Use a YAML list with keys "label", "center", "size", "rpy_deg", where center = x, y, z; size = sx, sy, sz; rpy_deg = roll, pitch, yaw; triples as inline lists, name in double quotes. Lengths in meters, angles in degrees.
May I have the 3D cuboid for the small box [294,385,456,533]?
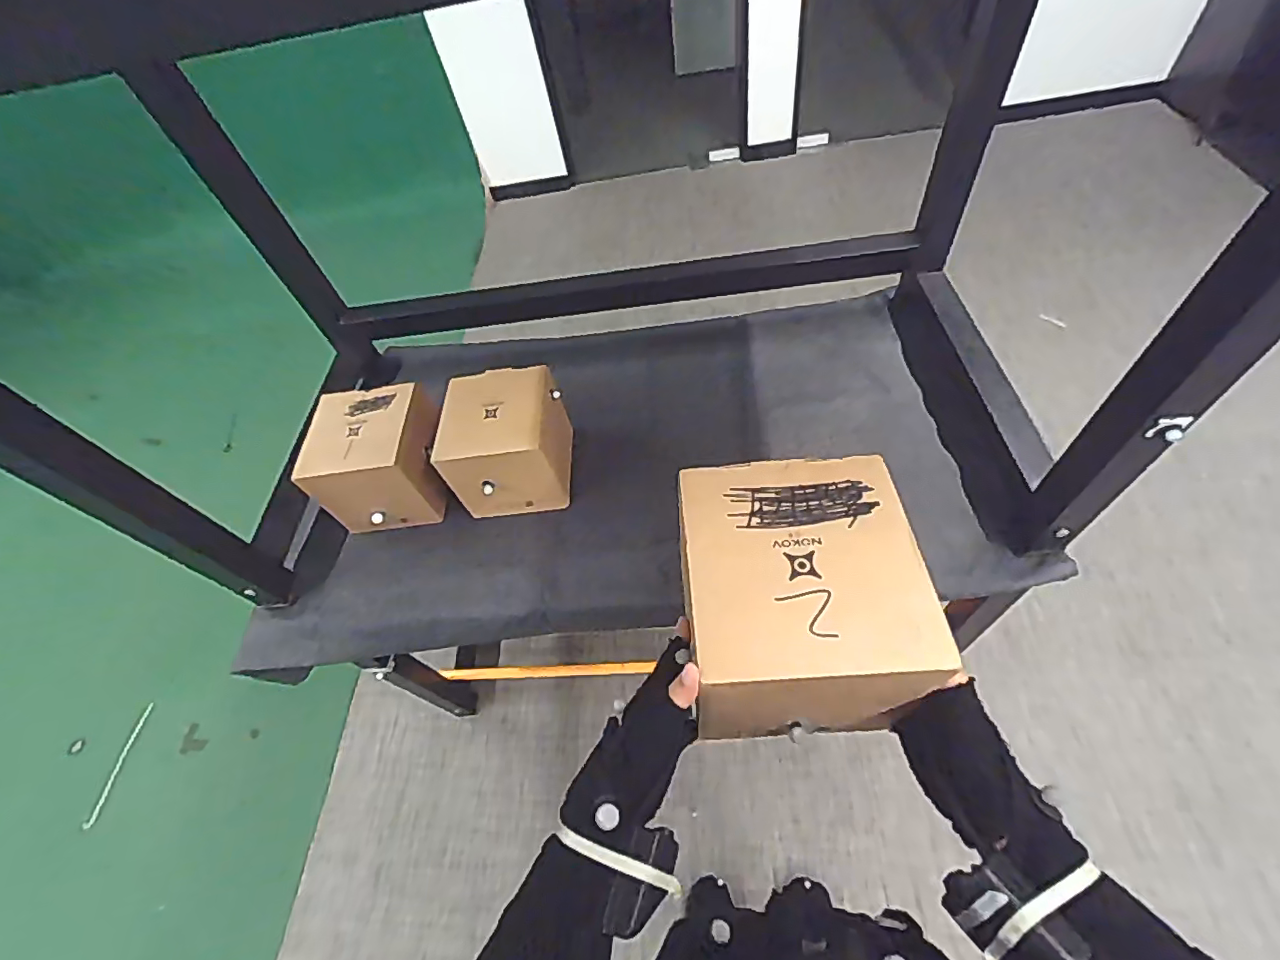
- label: "small box"
  center: [-0.430, -0.032, 0.913]
  size: [0.168, 0.176, 0.179]
  rpy_deg: [-7, 54, 6]
